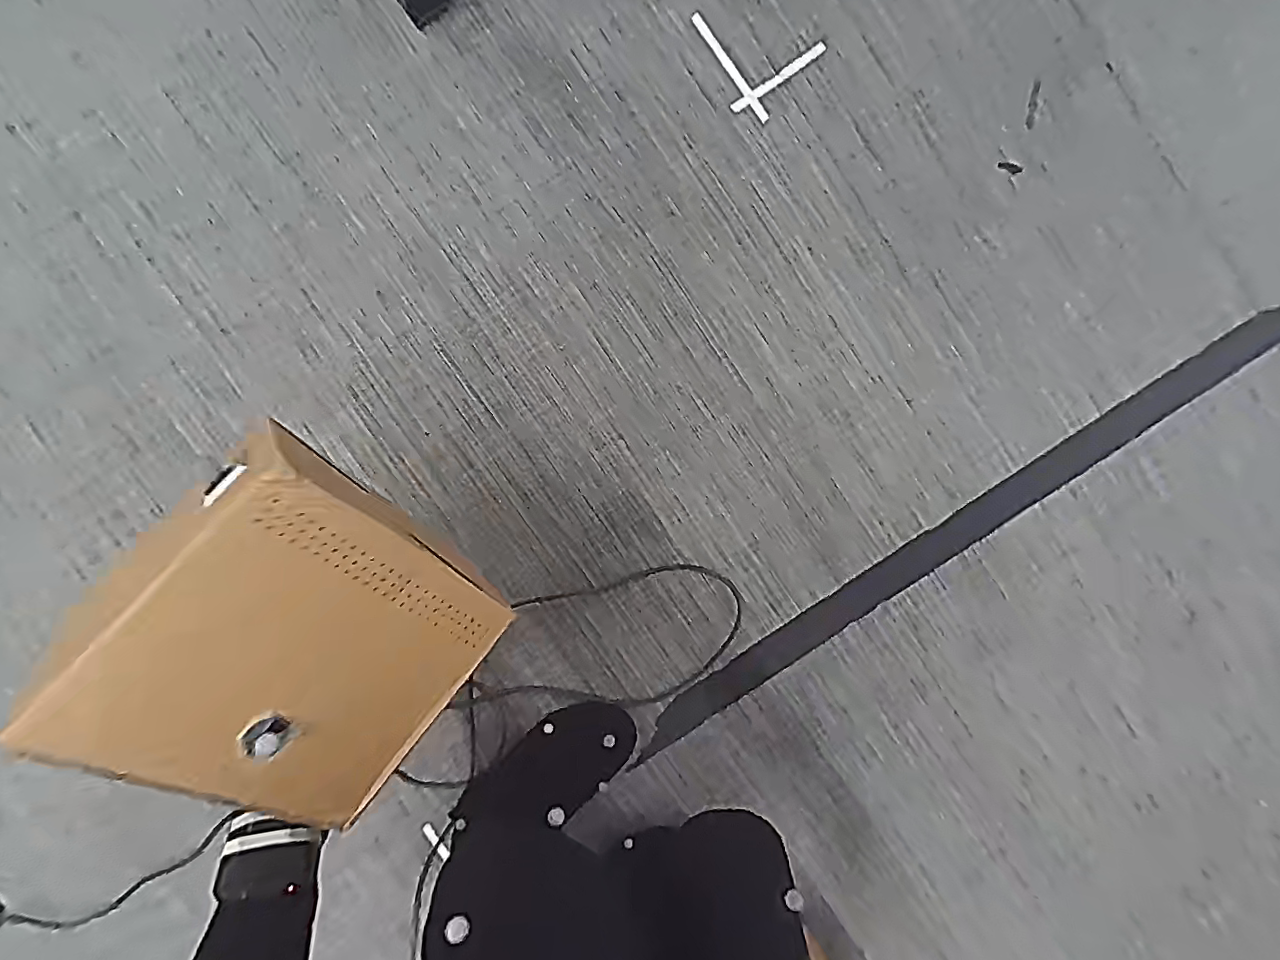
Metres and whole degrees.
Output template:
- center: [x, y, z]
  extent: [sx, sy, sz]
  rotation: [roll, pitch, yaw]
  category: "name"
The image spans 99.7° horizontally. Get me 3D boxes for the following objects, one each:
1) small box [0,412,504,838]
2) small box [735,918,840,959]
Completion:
- center: [-0.221, 0.081, 0.353]
  extent: [0.176, 0.168, 0.179]
  rotation: [-52, 125, -12]
  category: "small box"
- center: [0.195, 0.695, 0.647]
  extent: [0.179, 0.176, 0.168]
  rotation: [-36, 93, 2]
  category: "small box"
